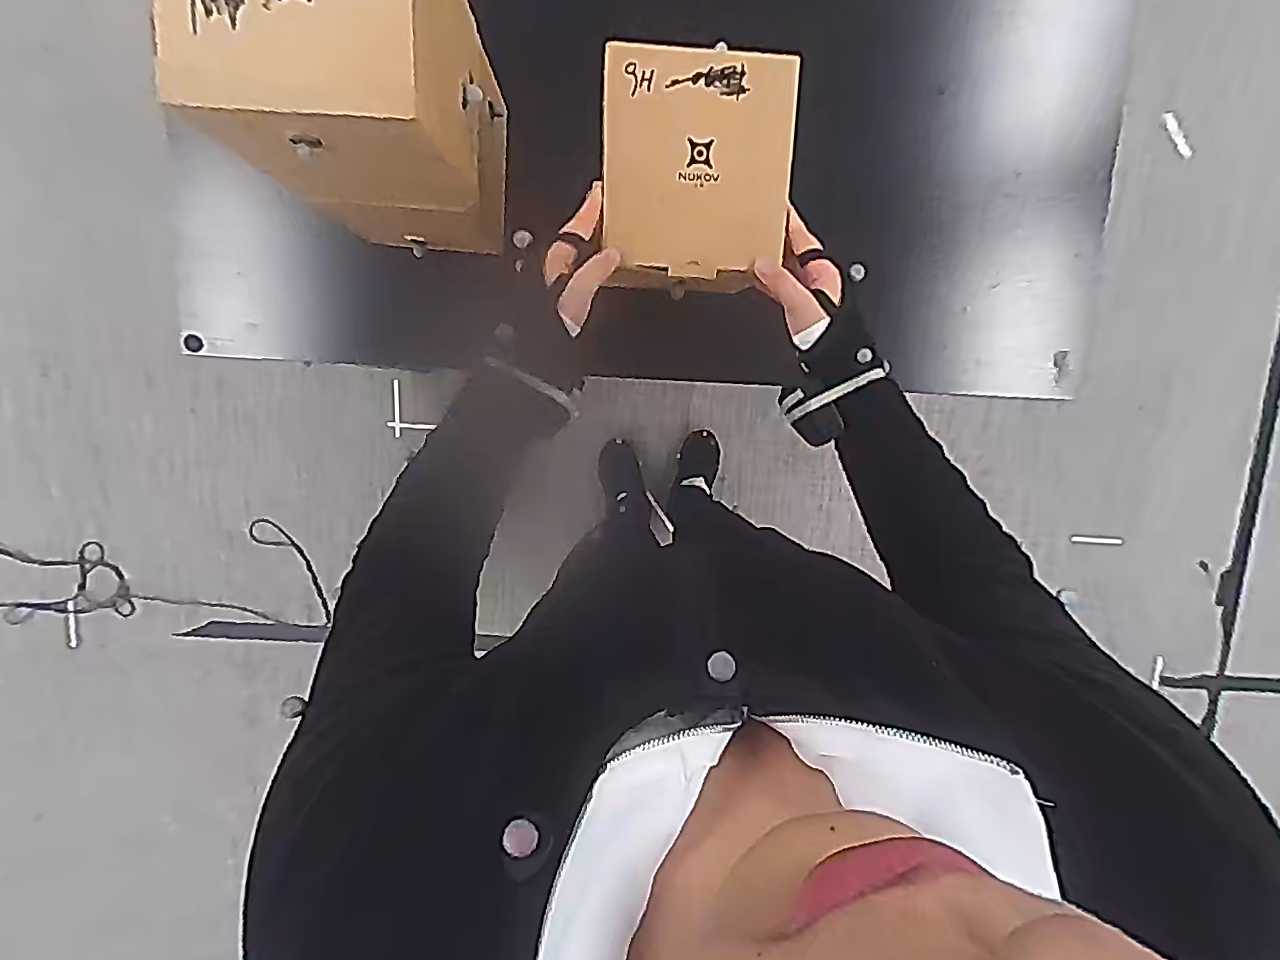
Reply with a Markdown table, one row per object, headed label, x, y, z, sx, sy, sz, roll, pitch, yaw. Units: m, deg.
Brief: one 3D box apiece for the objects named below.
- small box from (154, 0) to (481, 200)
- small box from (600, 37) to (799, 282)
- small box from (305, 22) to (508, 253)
| label | x | y | z | sx | sy | sz | roll | pitch | yaw |
| --- | --- | --- | --- | --- | --- | --- | --- | --- | --- |
| small box | -0.240 | -0.346 | 0.440 | 0.179 | 0.176 | 0.168 | 1 | 98 | -3 |
| small box | 0.045 | -0.301 | 0.550 | 0.168 | 0.176 | 0.179 | 1 | 105 | -4 |
| small box | -0.247 | -0.371 | 0.603 | 0.168 | 0.176 | 0.179 | 3 | 99 | -2 |
